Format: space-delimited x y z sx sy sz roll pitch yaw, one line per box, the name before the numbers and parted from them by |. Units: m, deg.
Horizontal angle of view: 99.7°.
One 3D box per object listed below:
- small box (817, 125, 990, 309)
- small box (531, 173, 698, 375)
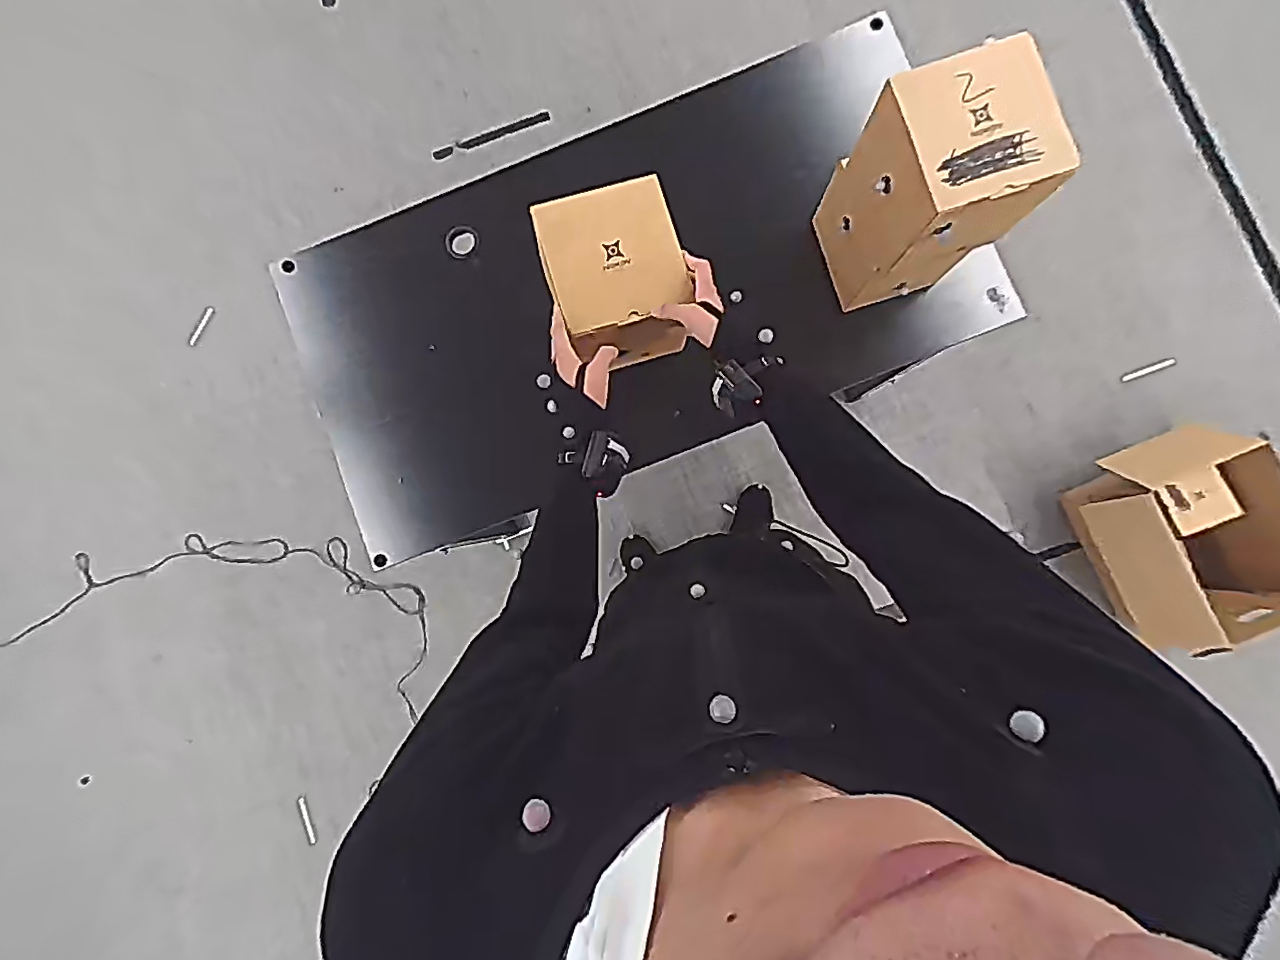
small box | 0.396 -0.398 0.847 0.168 0.176 0.179 -17 86 3
small box | -0.037 -0.265 0.730 0.168 0.176 0.179 -18 85 -5
